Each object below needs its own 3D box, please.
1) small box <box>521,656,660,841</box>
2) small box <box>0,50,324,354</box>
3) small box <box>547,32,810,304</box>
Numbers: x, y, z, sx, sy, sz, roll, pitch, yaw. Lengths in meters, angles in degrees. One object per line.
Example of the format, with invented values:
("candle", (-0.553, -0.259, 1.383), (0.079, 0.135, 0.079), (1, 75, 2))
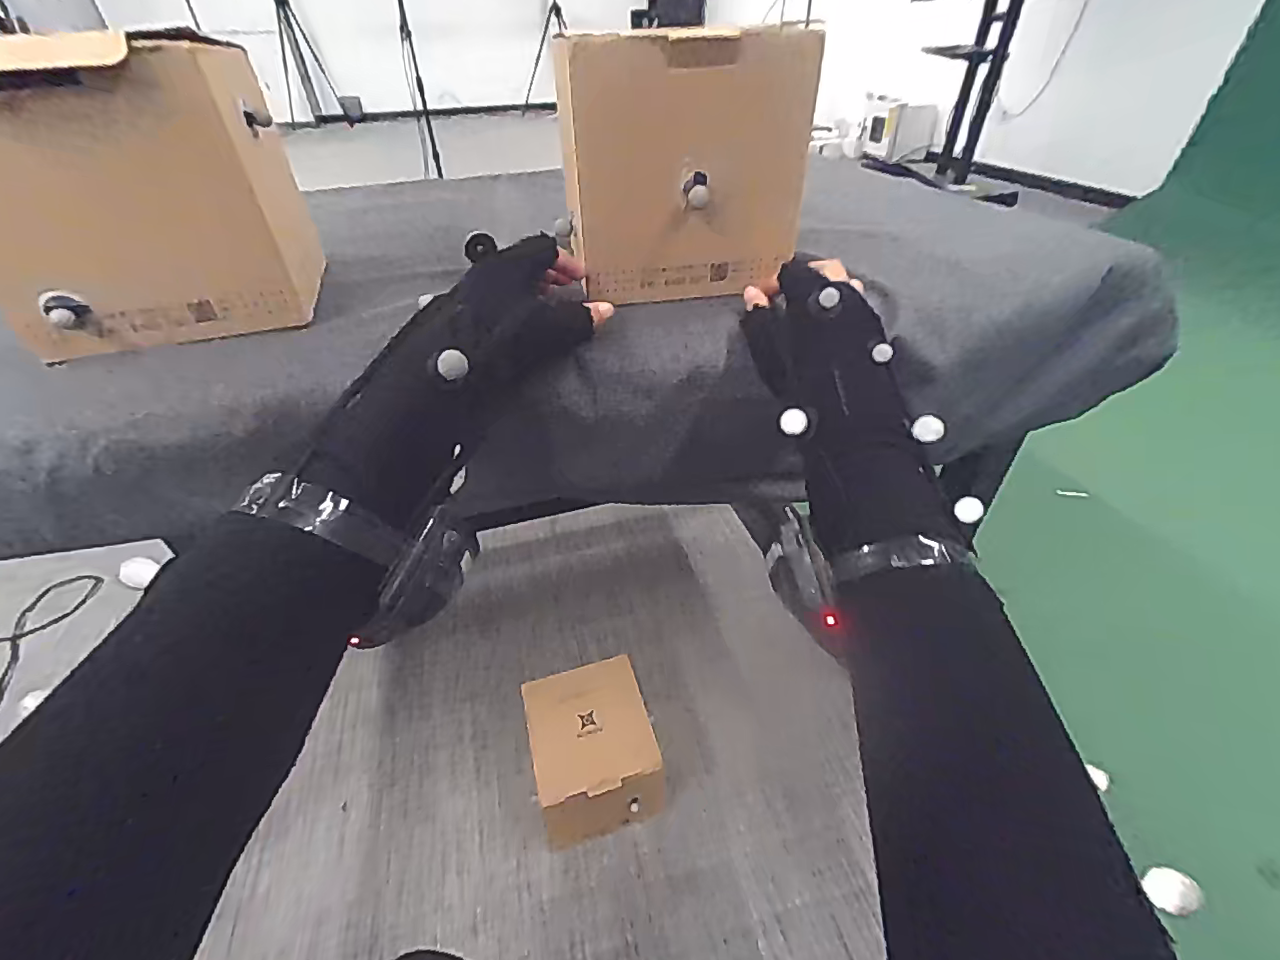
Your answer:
("small box", (-0.071, 0.401, 0.802), (0.168, 0.176, 0.179), (-12, 39, -13))
("small box", (-0.356, -0.203, 0.398), (0.168, 0.176, 0.179), (-14, 39, -15))
("small box", (0.019, -0.254, 0.446), (0.168, 0.176, 0.179), (-8, 40, -7))
